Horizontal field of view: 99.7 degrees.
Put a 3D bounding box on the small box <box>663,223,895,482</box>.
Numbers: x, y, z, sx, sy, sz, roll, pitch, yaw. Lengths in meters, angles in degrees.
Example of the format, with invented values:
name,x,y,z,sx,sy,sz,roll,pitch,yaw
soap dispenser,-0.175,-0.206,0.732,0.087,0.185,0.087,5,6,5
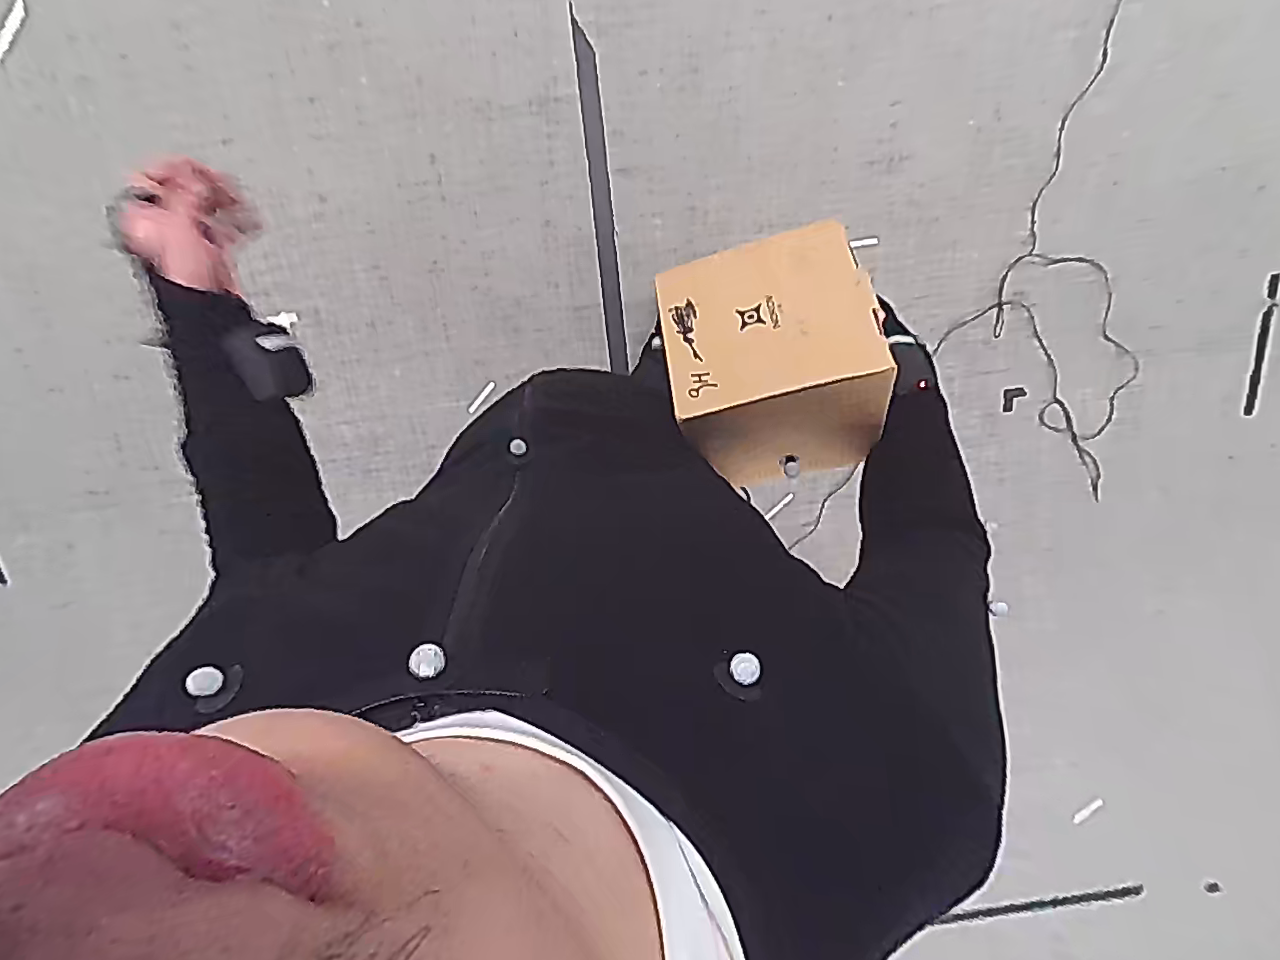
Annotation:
name,x,y,z,sx,sy,sz,roll,pitch,yaw
small box,0.133,-0.115,0.548,0.179,0.176,0.168,-12,64,12
